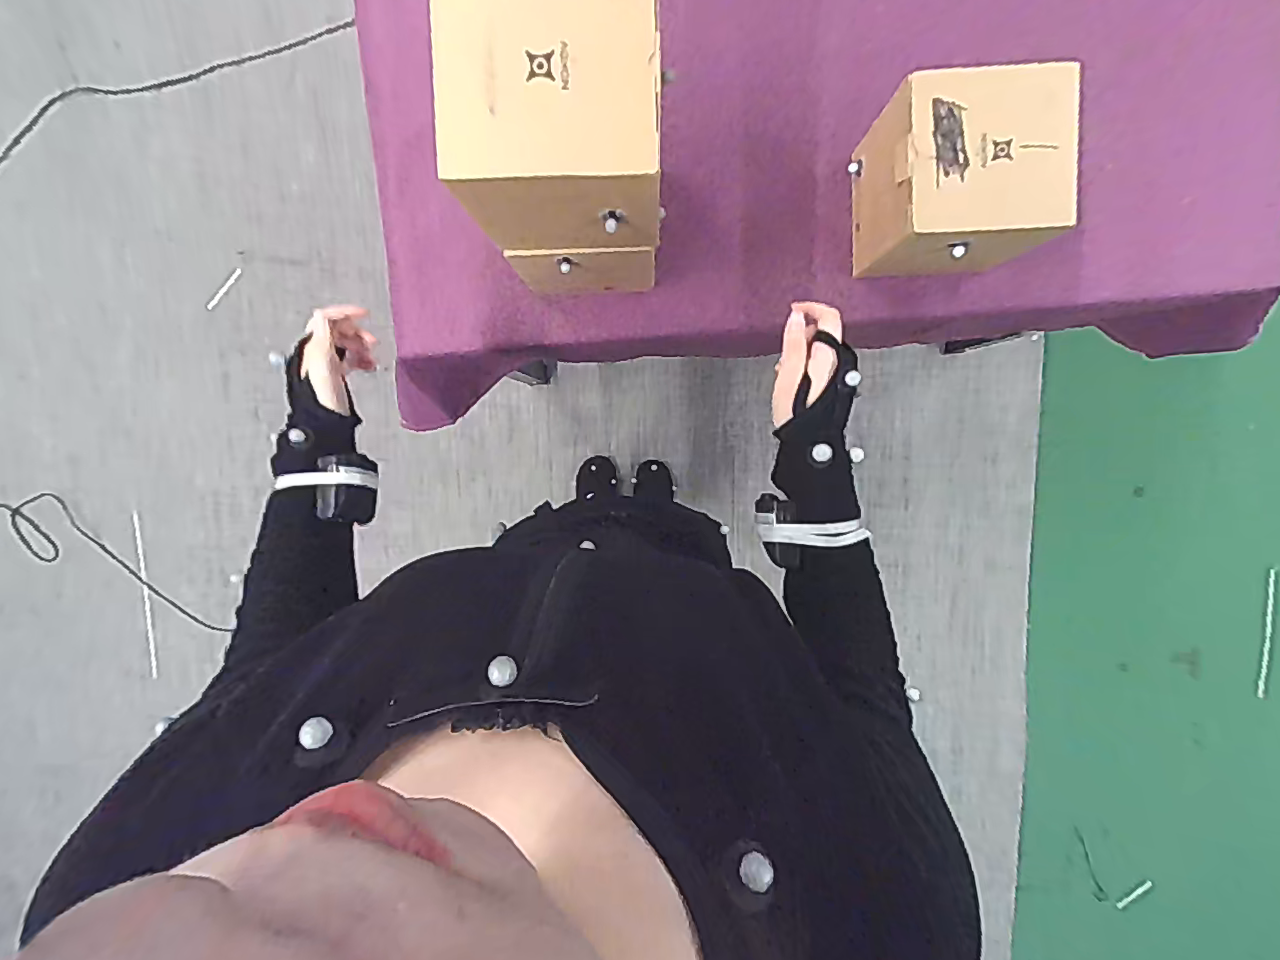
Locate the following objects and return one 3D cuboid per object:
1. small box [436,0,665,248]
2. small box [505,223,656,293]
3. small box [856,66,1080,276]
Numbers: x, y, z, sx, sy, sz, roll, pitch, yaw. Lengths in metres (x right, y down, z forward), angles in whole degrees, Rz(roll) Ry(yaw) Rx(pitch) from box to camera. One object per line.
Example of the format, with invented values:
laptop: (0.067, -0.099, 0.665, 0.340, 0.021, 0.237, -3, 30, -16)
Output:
small box: (-0.068, -0.324, 0.494, 0.179, 0.176, 0.168, 0, 95, 2)
small box: (-0.064, -0.339, 0.658, 0.168, 0.176, 0.179, -1, 95, 2)
small box: (0.371, -0.350, 0.646, 0.179, 0.176, 0.168, -2, 95, 1)
